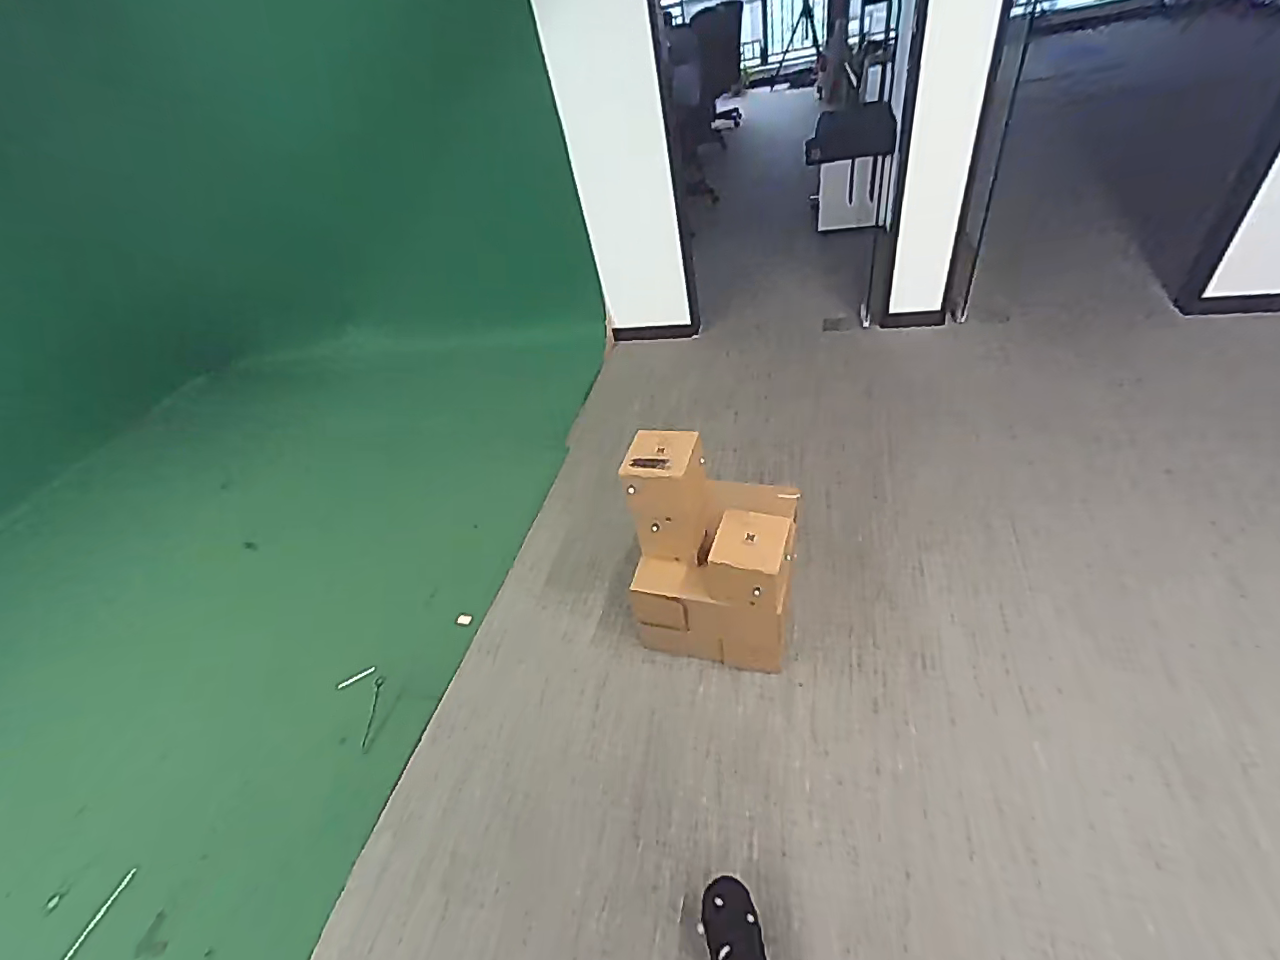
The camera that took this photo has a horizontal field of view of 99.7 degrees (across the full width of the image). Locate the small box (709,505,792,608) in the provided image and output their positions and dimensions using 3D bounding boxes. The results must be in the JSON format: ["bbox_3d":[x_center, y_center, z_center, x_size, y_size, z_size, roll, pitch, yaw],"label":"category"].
[{"bbox_3d":[0.280,0.191,1.344,0.168,0.176,0.179,9,46,22],"label":"small box"}]

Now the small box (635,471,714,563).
[{"bbox_3d":[0.103,0.100,1.493,0.168,0.176,0.179,6,44,23],"label":"small box"}]
